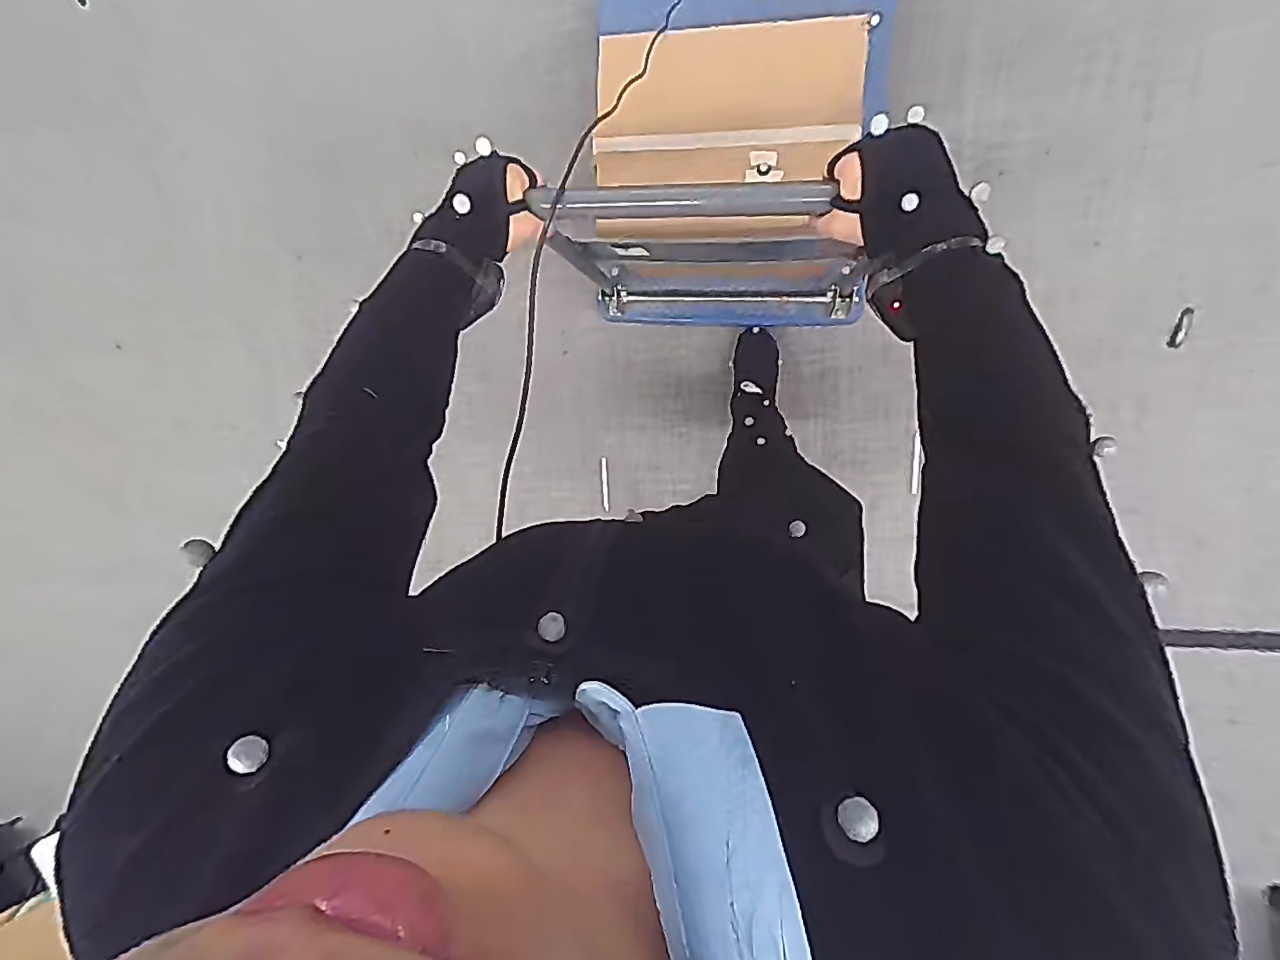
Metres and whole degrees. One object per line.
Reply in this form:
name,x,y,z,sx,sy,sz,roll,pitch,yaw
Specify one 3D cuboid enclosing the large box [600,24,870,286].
large box,0.156,-0.538,0.977,0.408,0.320,0.320,4,102,10
